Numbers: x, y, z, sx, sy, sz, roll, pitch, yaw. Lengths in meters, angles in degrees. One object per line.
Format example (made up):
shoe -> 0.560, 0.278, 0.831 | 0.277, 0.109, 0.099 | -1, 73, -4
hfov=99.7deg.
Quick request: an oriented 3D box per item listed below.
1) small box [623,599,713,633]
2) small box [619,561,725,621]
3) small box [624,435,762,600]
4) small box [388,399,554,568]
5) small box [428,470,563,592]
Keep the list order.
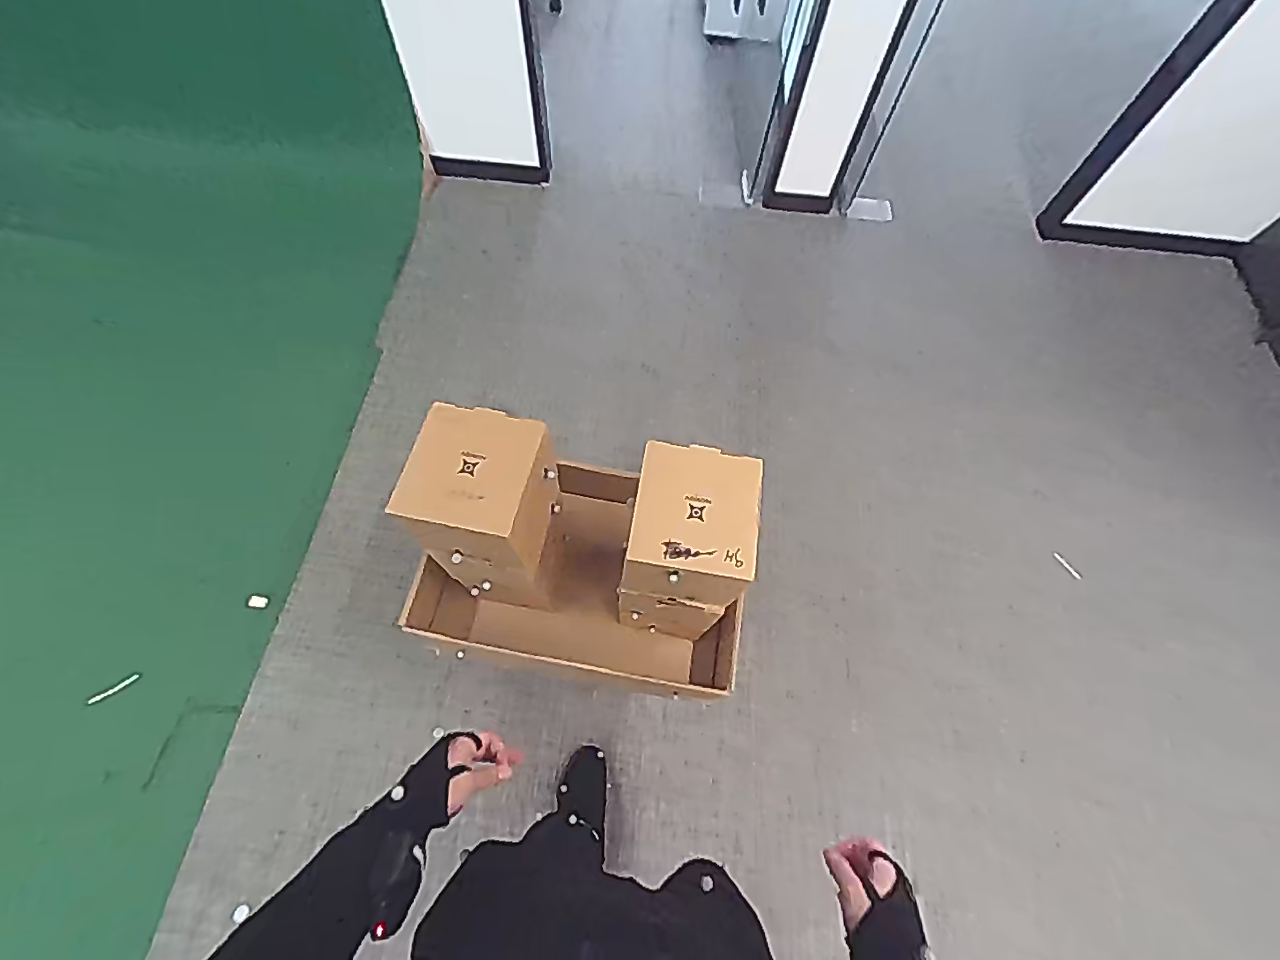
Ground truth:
small box -> 0.061, 0.194, 1.081 | 0.168, 0.176, 0.179 | 10, 66, 2
small box -> 0.063, 0.132, 0.929 | 0.168, 0.176, 0.179 | 12, 66, 2
small box -> 0.070, 0.060, 0.781 | 0.168, 0.176, 0.179 | 9, 66, 1
small box -> -0.230, 0.010, 0.792 | 0.168, 0.176, 0.179 | 11, 66, 4
small box -> -0.236, 0.077, 0.940 | 0.168, 0.176, 0.179 | 11, 66, 4
